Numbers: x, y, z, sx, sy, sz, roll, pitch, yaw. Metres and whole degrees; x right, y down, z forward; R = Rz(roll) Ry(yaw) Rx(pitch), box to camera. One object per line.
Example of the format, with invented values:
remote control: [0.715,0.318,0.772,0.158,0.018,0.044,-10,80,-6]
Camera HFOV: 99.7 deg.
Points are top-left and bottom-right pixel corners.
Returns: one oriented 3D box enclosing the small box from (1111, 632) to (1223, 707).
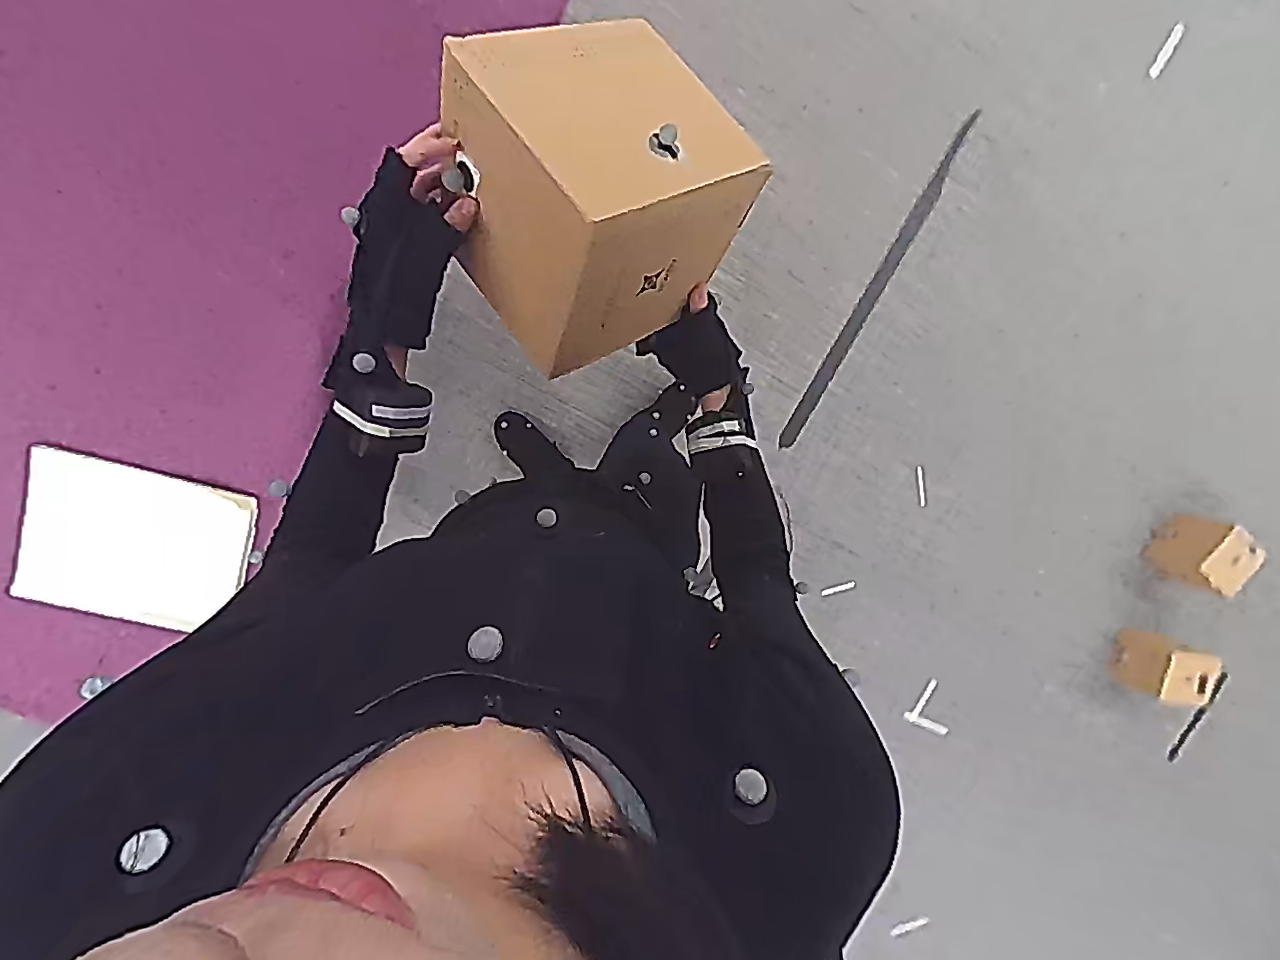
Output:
small box: [1.681,0.602,1.733,0.179,0.176,0.168,8,98,-7]

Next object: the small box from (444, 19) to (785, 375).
small box: [-0.031,-0.221,0.426,0.179,0.168,0.176,-31,78,-29]

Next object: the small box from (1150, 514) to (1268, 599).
small box: [1.758,0.232,1.686,0.168,0.176,0.179,40,93,-11]
